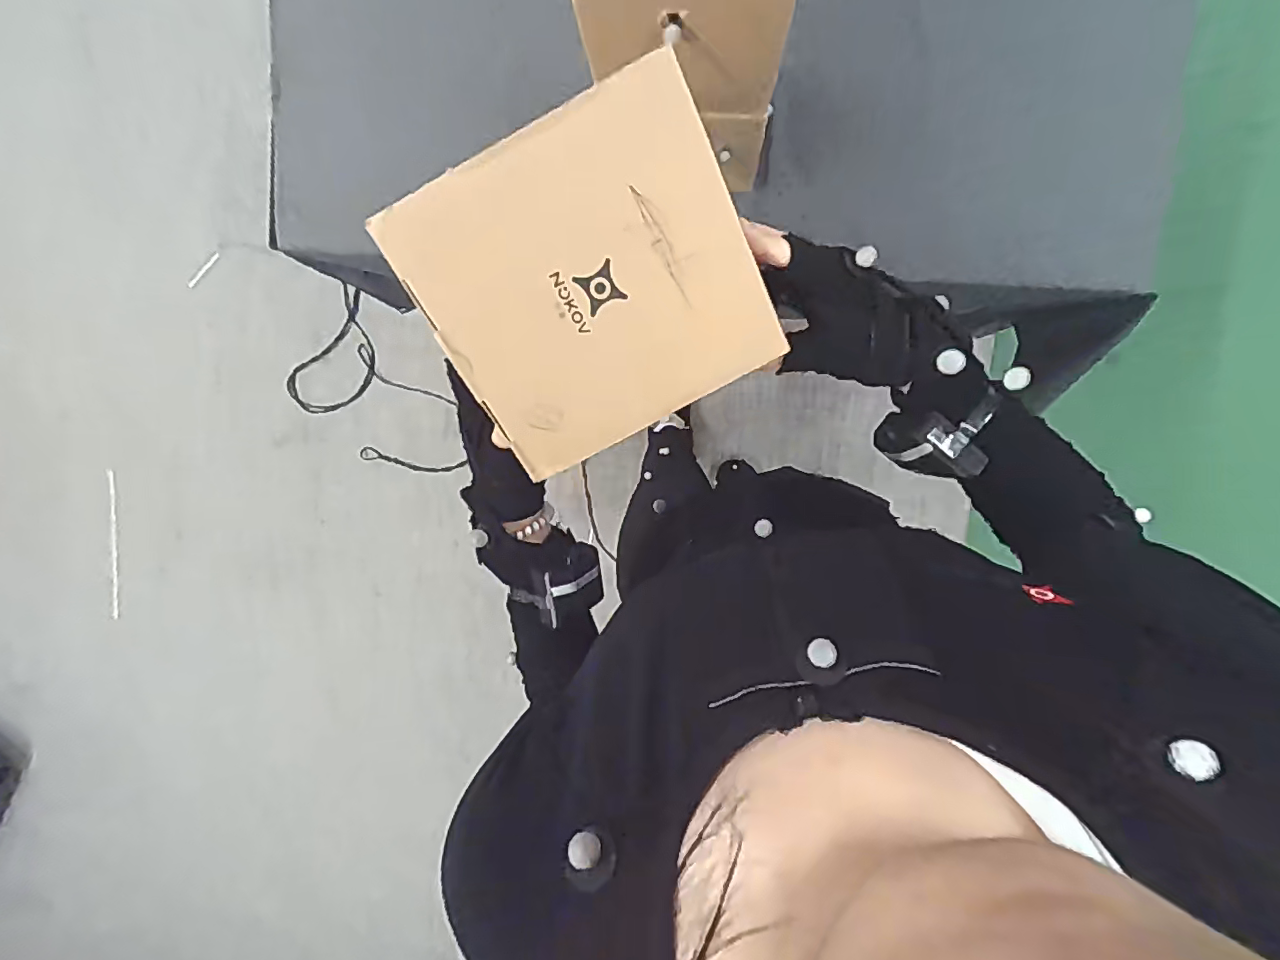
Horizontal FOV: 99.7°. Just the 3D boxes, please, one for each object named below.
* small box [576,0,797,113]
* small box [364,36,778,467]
[{"bbox_3d":[0.047,-0.458,0.479,0.179,0.176,0.168,4,95,6],"label":"small box"},{"bbox_3d":[-0.037,-0.138,0.368,0.179,0.176,0.168,-27,113,4],"label":"small box"}]
